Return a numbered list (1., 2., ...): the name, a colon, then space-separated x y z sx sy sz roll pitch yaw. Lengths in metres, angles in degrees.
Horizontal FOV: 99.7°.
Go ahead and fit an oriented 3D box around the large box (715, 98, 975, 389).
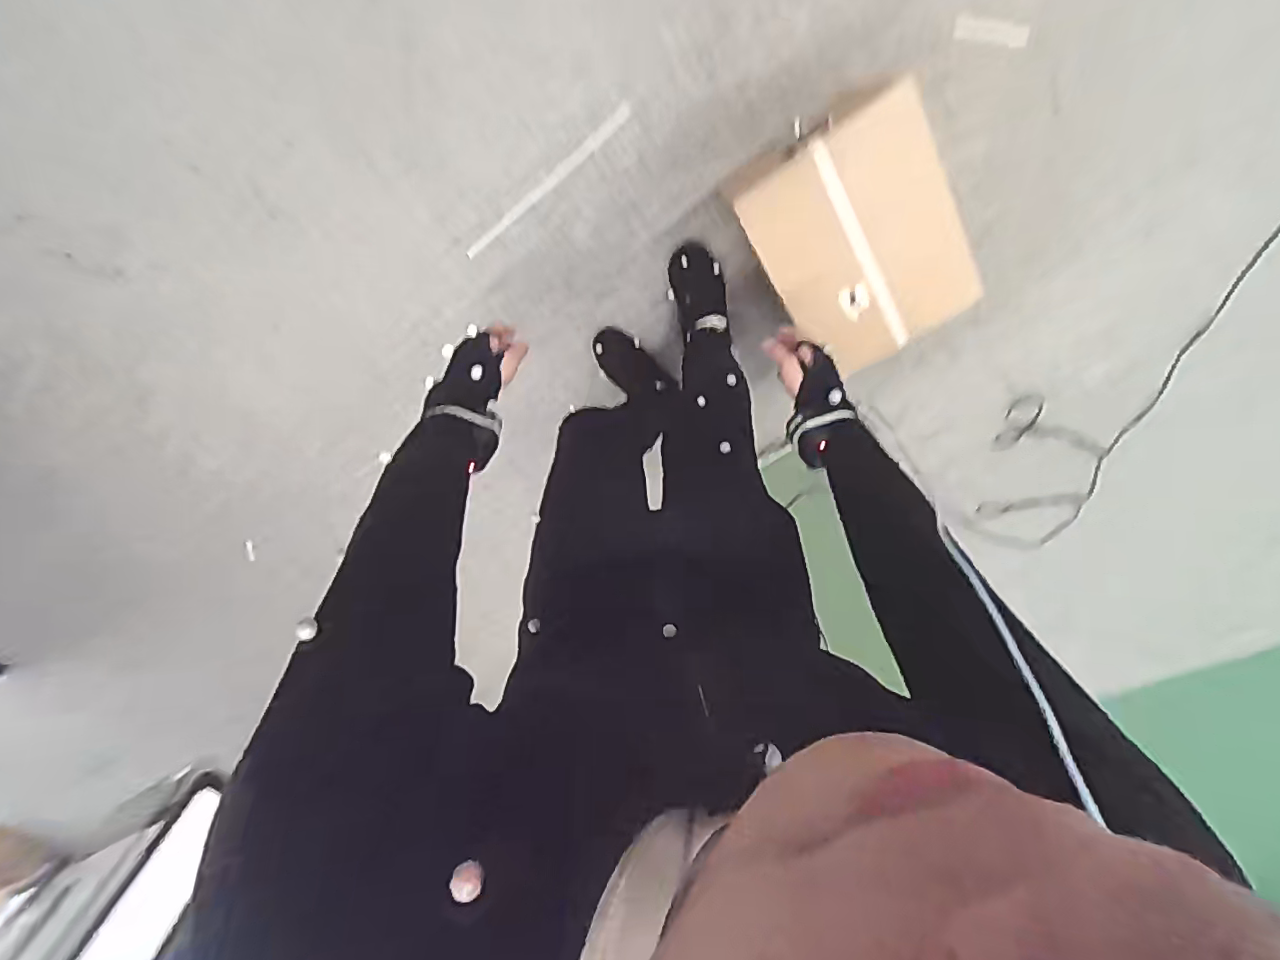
1. large box: 0.395 -0.473 1.105 0.320 0.320 0.408 -29 117 19
